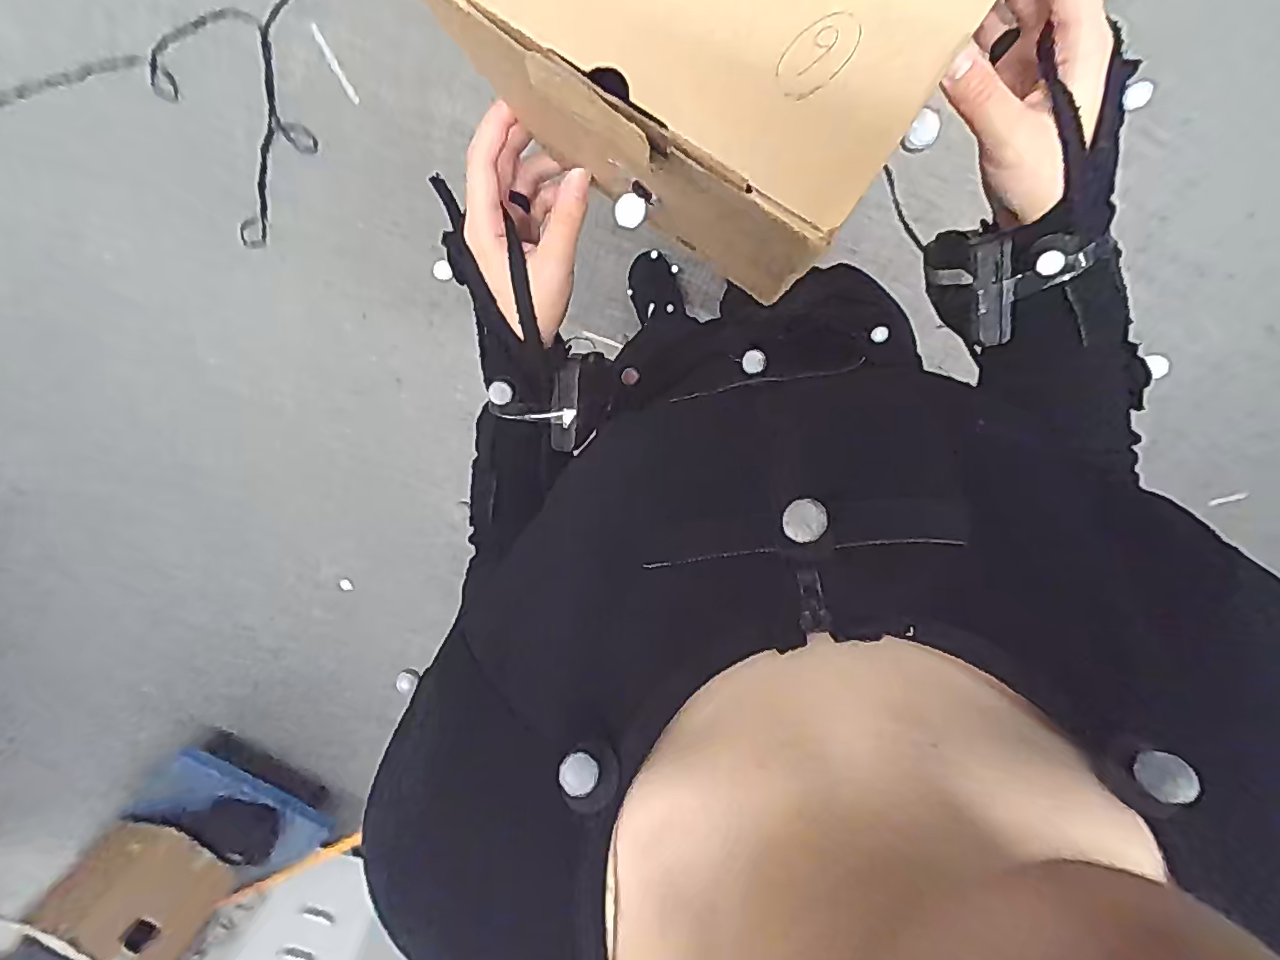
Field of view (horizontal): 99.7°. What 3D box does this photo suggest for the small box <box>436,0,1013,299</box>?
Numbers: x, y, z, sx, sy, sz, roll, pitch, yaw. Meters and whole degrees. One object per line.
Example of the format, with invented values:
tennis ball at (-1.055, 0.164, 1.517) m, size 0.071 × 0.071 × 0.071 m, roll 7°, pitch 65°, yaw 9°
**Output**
small box at (0.053, -0.201, 0.238) m, size 0.168 × 0.176 × 0.179 m, roll 34°, pitch 104°, yaw -1°
